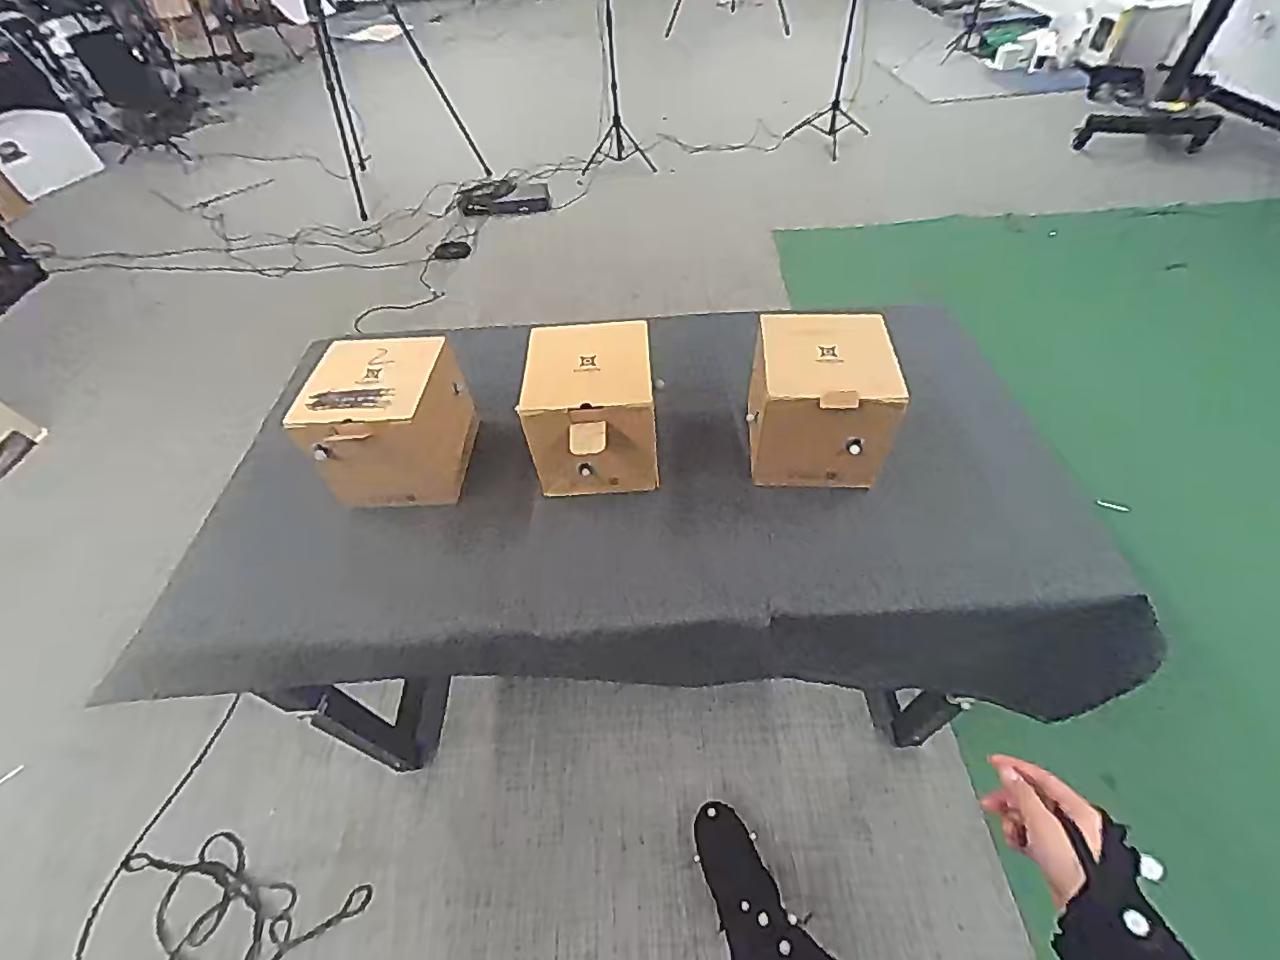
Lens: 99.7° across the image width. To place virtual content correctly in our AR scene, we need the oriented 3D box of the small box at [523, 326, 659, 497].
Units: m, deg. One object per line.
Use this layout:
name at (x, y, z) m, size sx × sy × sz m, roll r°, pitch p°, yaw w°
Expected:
small box at (-0.059, -0.095, 0.768) m, size 0.168 × 0.176 × 0.179 m, roll -3°, pitch 50°, yaw 1°

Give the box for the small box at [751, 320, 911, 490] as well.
small box at (0.247, -0.101, 0.748) m, size 0.168 × 0.176 × 0.179 m, roll 2°, pitch 49°, yaw 5°
